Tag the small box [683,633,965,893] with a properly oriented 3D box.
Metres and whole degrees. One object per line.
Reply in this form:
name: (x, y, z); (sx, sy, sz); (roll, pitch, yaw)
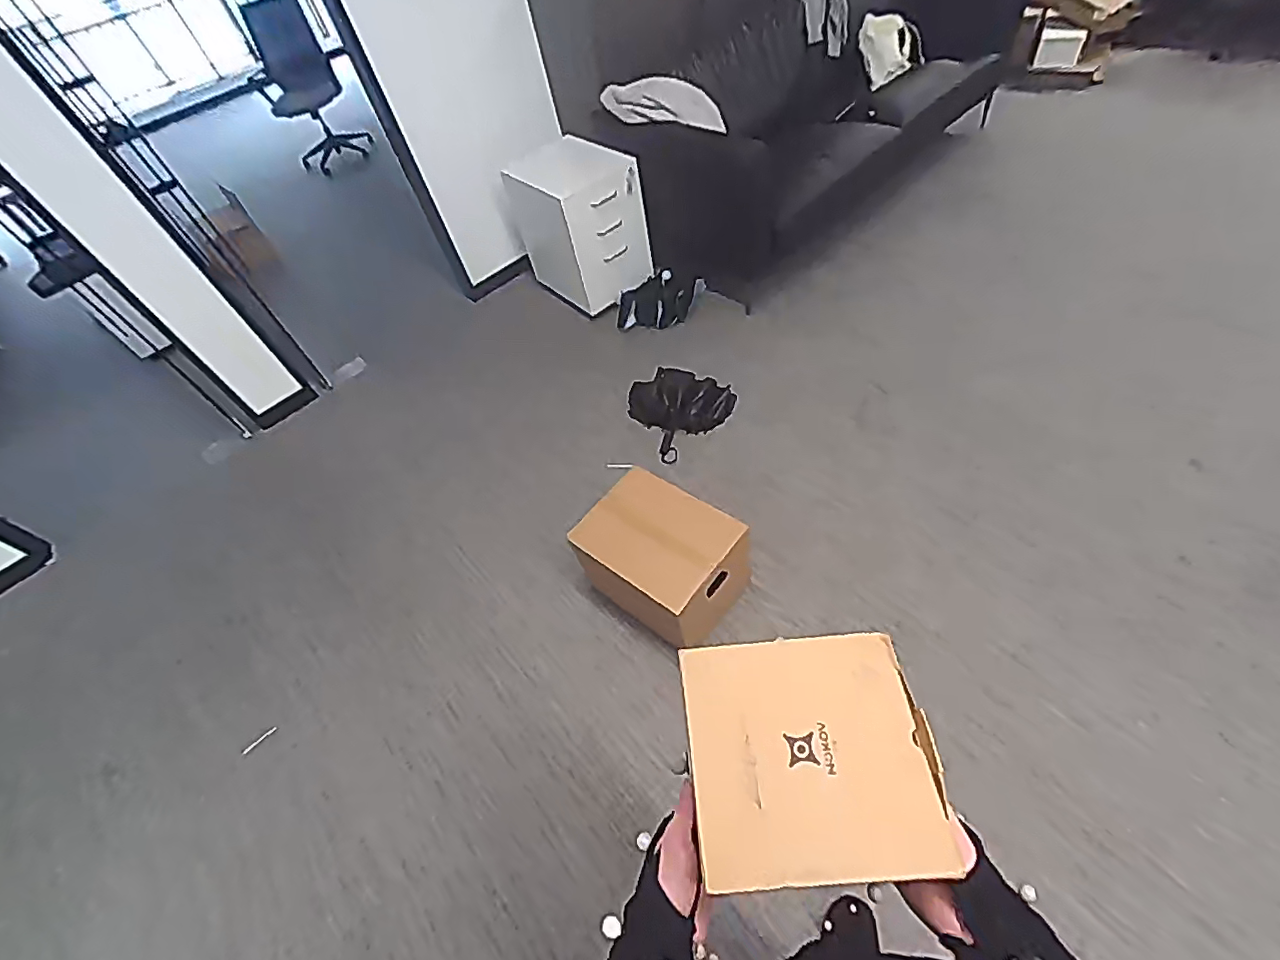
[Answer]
small box: (0.133, 0.246, 0.470); (0.179, 0.176, 0.168); (-7, 55, 3)
